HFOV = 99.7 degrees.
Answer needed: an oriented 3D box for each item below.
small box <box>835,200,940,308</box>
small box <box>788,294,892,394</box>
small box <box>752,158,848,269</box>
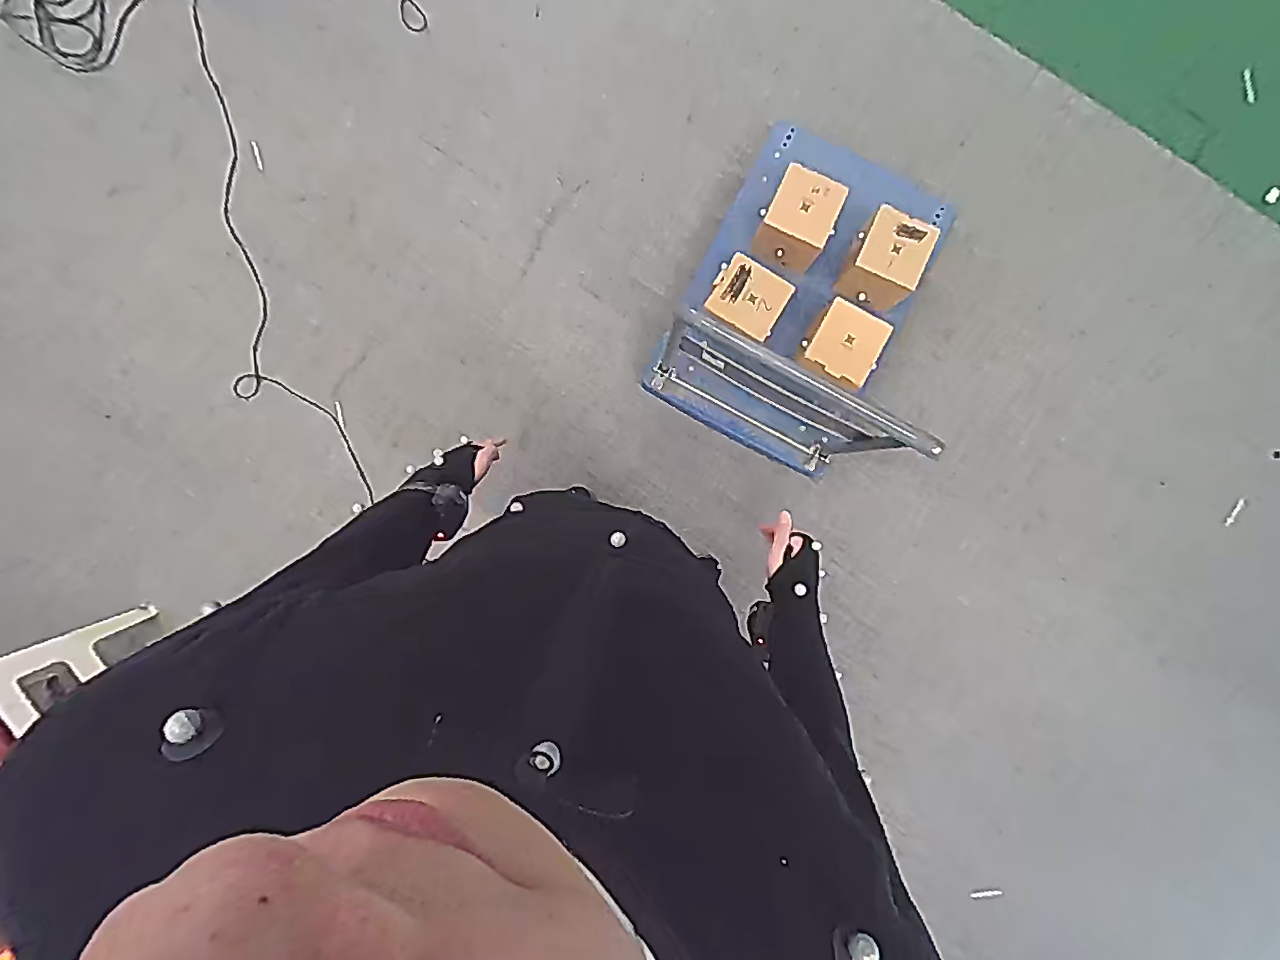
[{"bbox_3d":[0.642,-0.587,1.429,0.168,0.176,0.179,25,89,0],"label":"small box"},{"bbox_3d":[0.515,-0.349,1.421,0.168,0.176,0.179,29,88,-1],"label":"small box"},{"bbox_3d":[0.411,-0.691,1.427,0.168,0.176,0.179,25,88,-1],"label":"small box"}]
